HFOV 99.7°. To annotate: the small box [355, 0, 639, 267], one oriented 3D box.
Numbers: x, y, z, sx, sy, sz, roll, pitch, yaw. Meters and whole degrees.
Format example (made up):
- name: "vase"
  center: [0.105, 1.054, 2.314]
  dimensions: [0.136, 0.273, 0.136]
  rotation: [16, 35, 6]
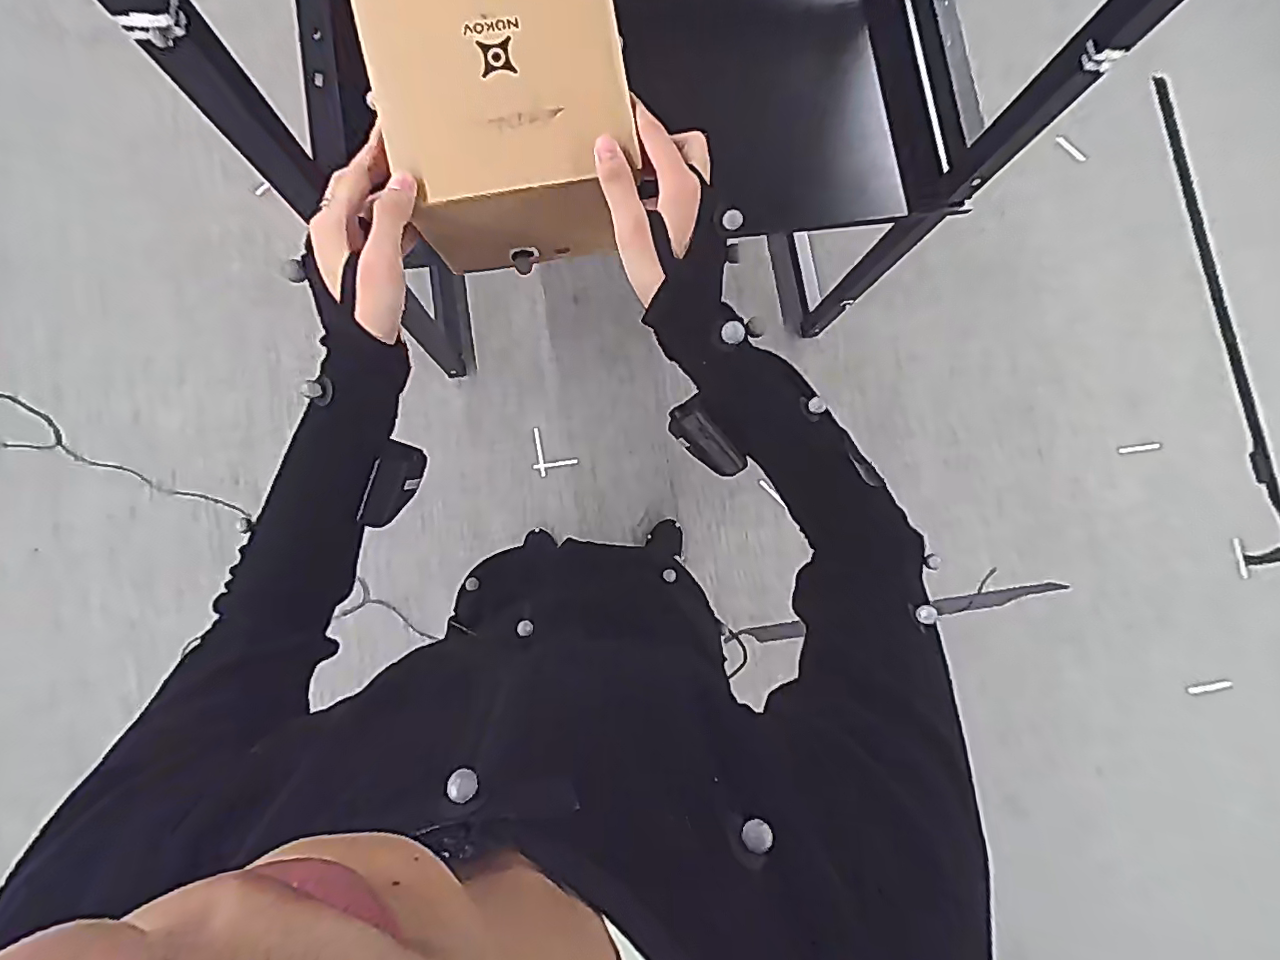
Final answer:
- name: "small box"
  center: [-0.102, -0.291, 0.427]
  dimensions: [0.168, 0.176, 0.179]
  rotation: [-11, 97, -4]
